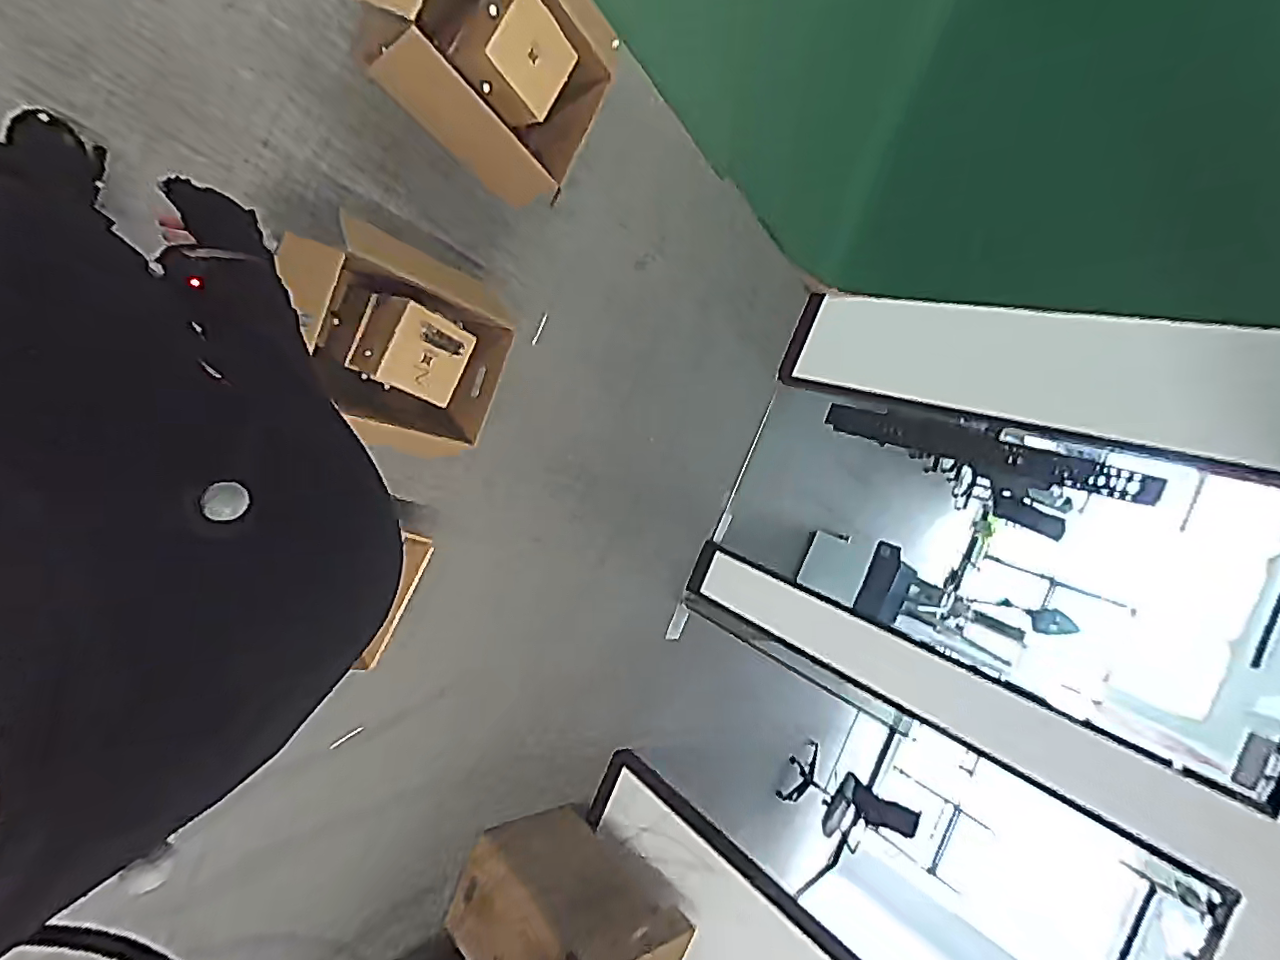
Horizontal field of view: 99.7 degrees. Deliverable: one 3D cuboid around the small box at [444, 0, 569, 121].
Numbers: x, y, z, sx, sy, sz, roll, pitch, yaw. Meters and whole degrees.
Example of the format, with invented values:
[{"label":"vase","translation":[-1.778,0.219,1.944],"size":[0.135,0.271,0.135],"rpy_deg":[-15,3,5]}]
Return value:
[{"label":"small box","translation":[-0.294,-0.916,1.169],"size":[0.168,0.176,0.179],"rpy_deg":[31,84,-51]}]
